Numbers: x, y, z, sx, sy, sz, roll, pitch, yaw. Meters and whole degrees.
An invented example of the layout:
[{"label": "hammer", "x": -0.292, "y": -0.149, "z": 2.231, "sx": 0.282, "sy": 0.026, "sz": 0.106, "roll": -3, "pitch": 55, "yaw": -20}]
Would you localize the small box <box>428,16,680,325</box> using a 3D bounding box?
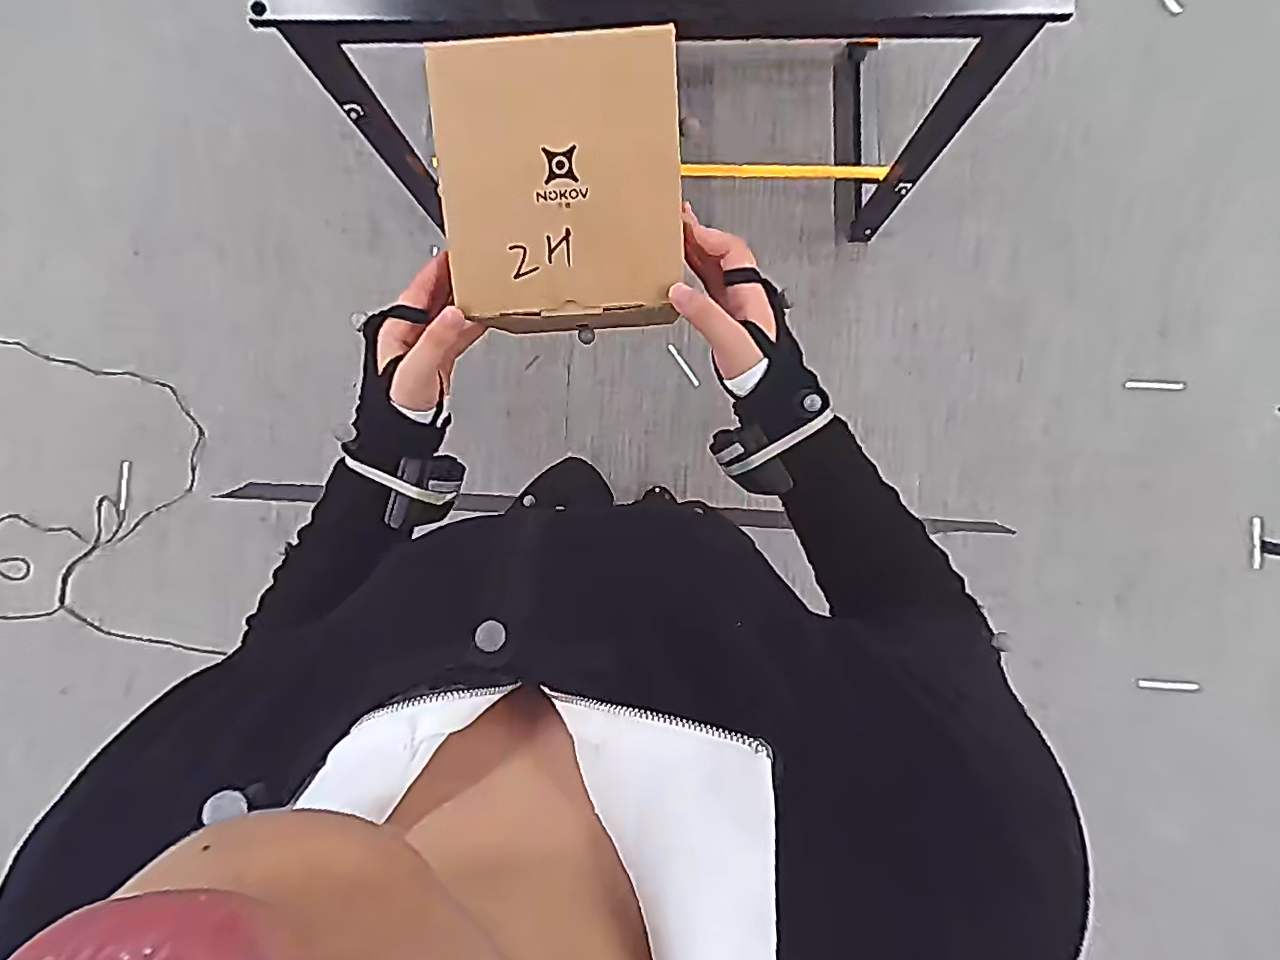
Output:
[{"label": "small box", "x": -0.056, "y": -0.230, "z": 0.449, "sx": 0.168, "sy": 0.176, "sz": 0.179, "roll": -3, "pitch": 101, "yaw": 2}]
